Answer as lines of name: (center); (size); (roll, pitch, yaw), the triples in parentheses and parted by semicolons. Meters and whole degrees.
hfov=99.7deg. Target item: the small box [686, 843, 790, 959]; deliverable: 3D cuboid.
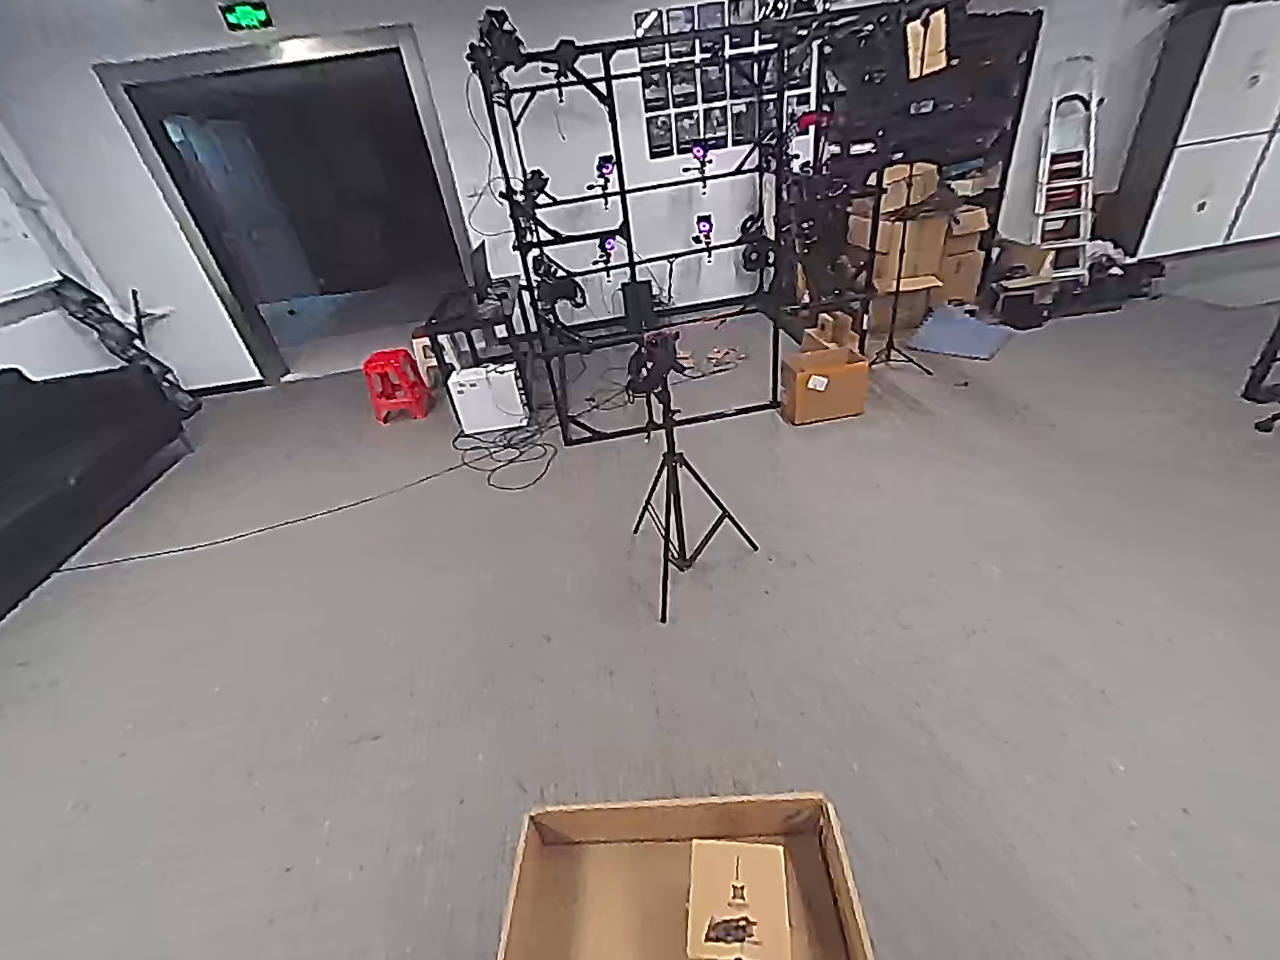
small box: (0.177, 0.780, 0.953); (0.168, 0.176, 0.179); (-3, 32, 11)
